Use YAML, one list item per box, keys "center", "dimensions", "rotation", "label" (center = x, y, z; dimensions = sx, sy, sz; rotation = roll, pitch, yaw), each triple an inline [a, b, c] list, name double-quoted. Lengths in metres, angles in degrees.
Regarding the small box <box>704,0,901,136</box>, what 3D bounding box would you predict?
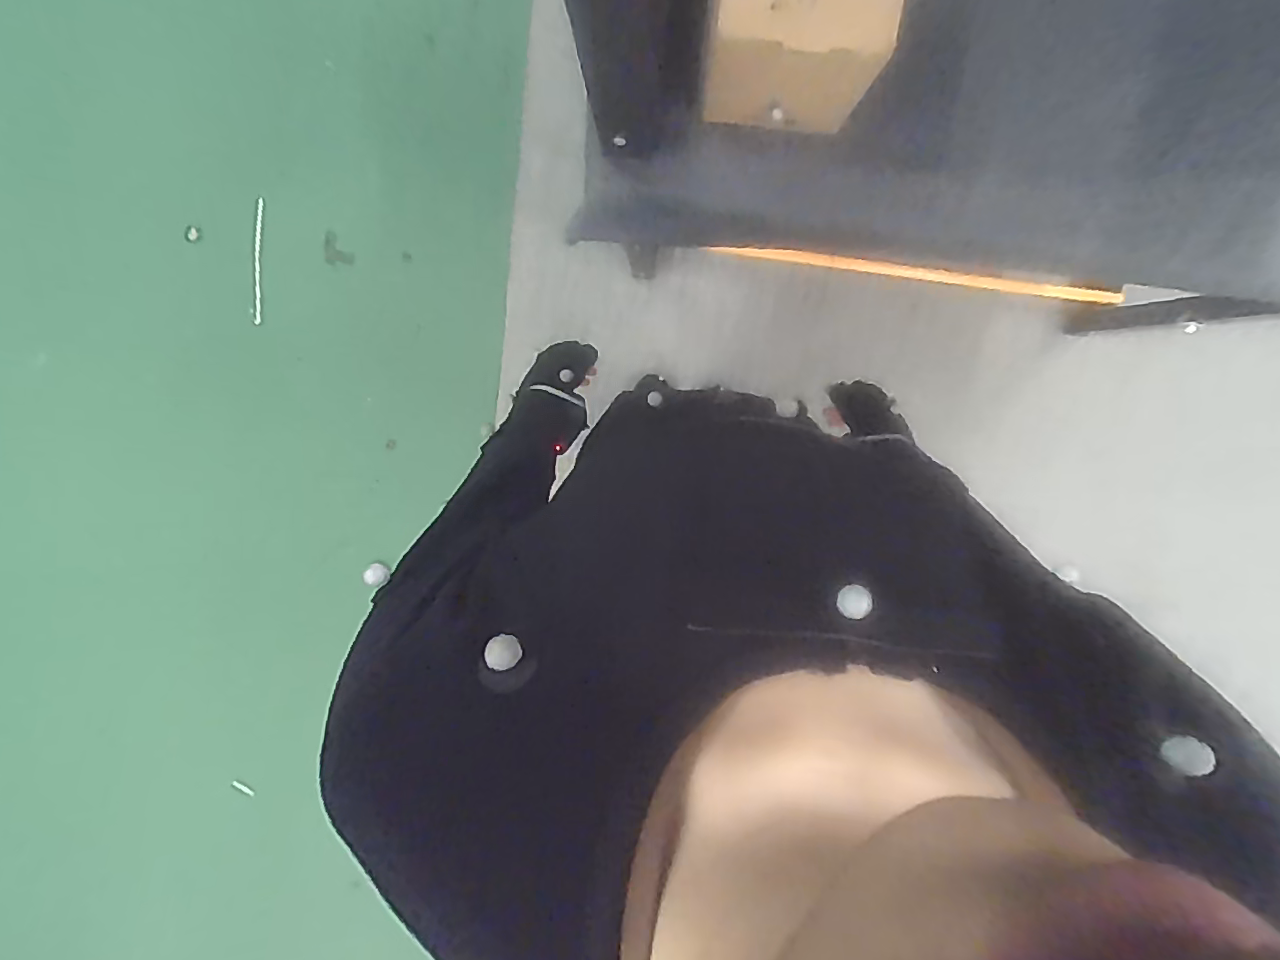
- center: [0.162, -0.498, 0.562]
  dimensions: [0.168, 0.176, 0.179]
  rotation: [6, 101, 1]
  label: "small box"
